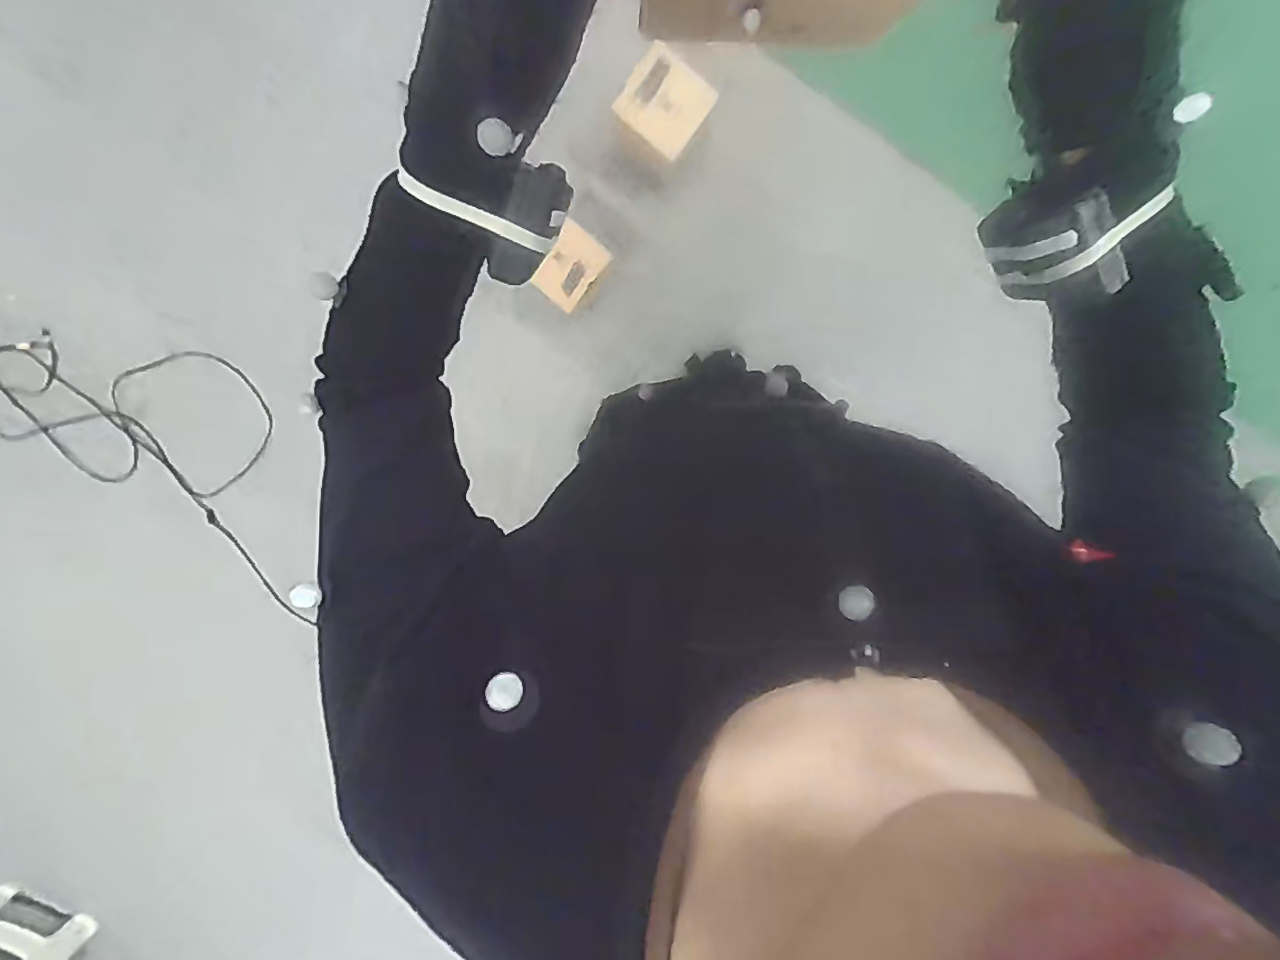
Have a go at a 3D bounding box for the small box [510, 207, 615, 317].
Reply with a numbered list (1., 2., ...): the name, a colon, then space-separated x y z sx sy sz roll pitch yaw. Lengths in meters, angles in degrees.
1. small box: -0.174 -0.506 1.286 0.179 0.176 0.168 39 100 -6
